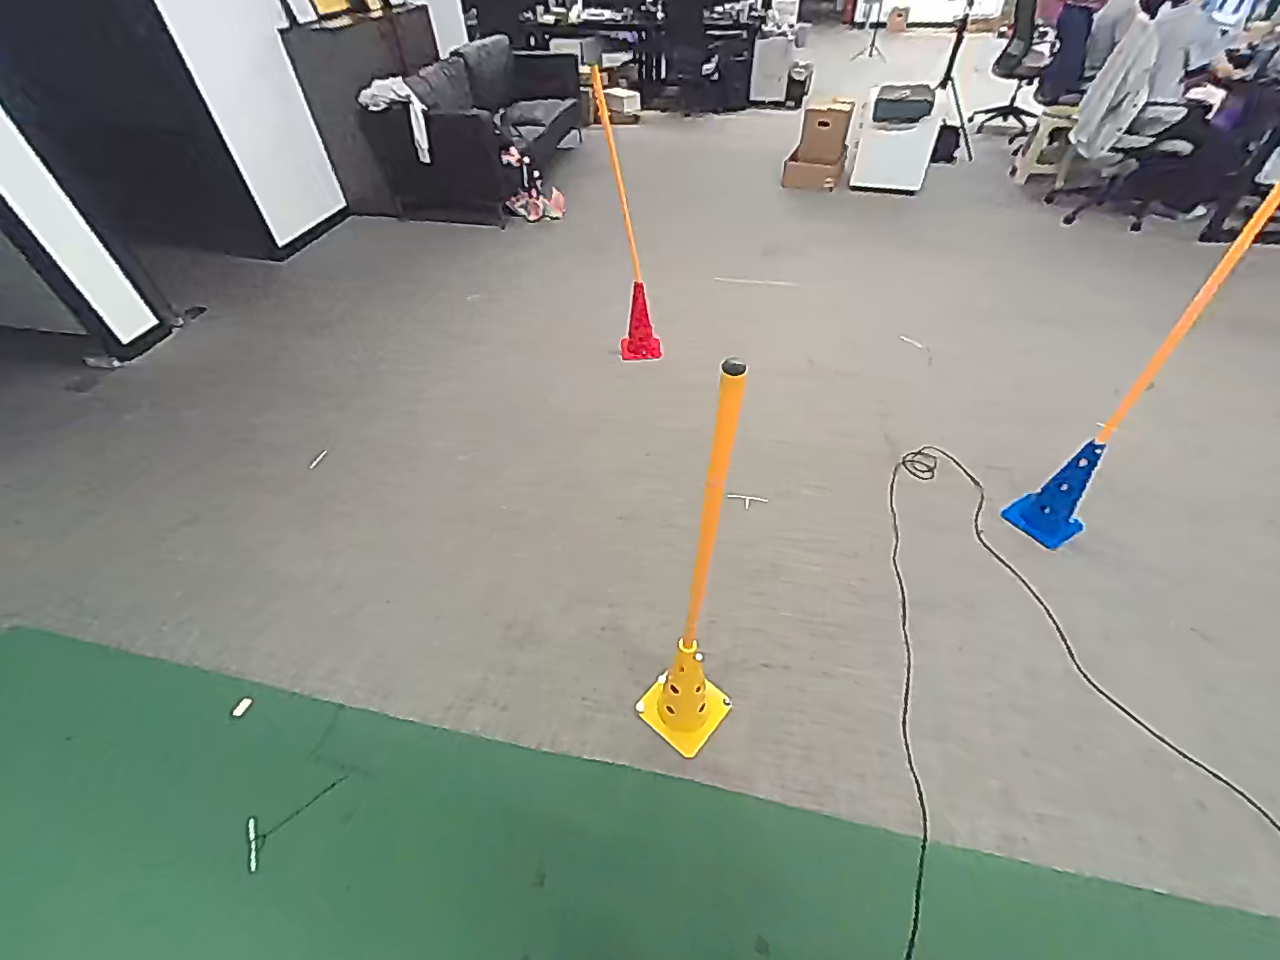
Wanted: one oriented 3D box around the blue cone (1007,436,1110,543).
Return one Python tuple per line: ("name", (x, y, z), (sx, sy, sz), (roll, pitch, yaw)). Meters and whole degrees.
("blue cone", (1.405, 0.007, 1.776), (0.193, 0.380, 0.192), (-24, 48, -23))
